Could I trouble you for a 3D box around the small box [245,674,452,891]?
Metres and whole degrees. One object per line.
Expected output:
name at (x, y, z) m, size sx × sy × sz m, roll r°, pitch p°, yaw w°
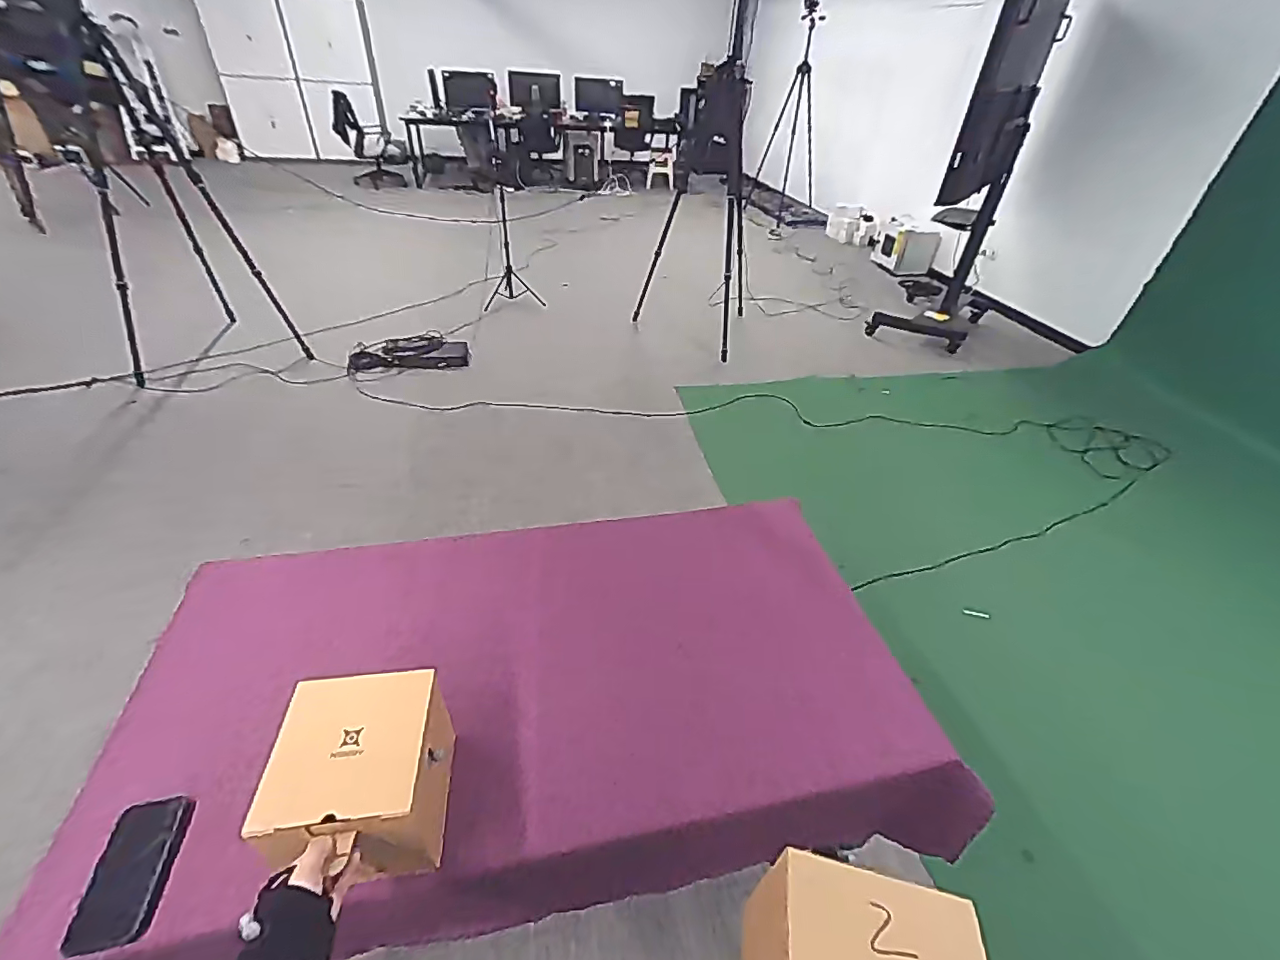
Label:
small box at (-0.334, 0.367, 0.667) m, size 0.168 × 0.176 × 0.179 m, roll -2°, pitch 38°, yaw -8°
